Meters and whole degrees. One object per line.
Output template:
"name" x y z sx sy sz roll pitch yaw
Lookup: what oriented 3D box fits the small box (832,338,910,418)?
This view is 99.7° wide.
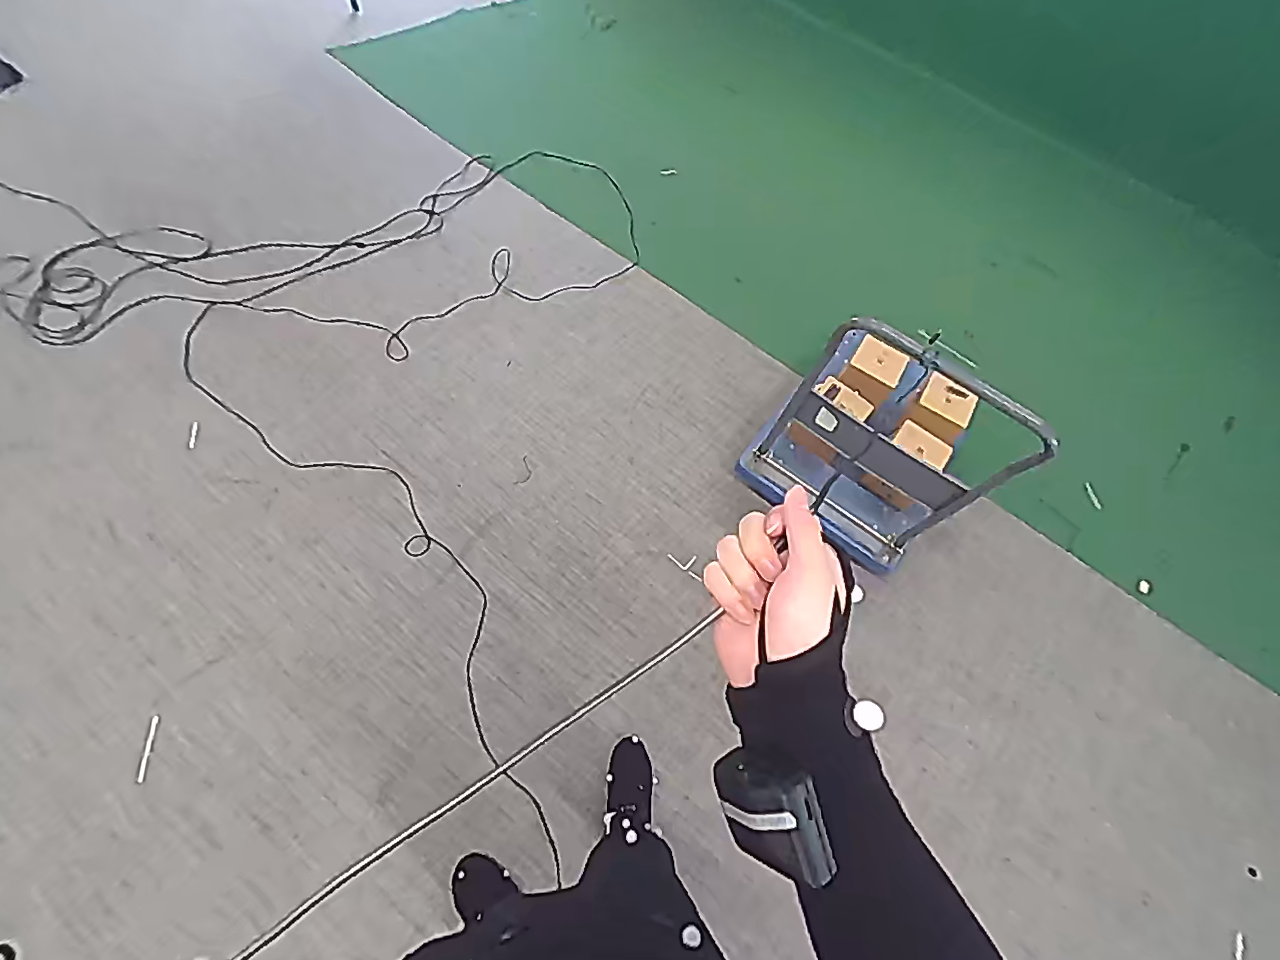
"small box" 0.790 -0.348 1.867 0.168 0.176 0.179 33 60 9

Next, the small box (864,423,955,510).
"small box" 0.838 -0.039 1.696 0.168 0.176 0.179 37 62 12

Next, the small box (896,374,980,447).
"small box" 0.999 -0.215 1.824 0.168 0.176 0.179 33 61 10
